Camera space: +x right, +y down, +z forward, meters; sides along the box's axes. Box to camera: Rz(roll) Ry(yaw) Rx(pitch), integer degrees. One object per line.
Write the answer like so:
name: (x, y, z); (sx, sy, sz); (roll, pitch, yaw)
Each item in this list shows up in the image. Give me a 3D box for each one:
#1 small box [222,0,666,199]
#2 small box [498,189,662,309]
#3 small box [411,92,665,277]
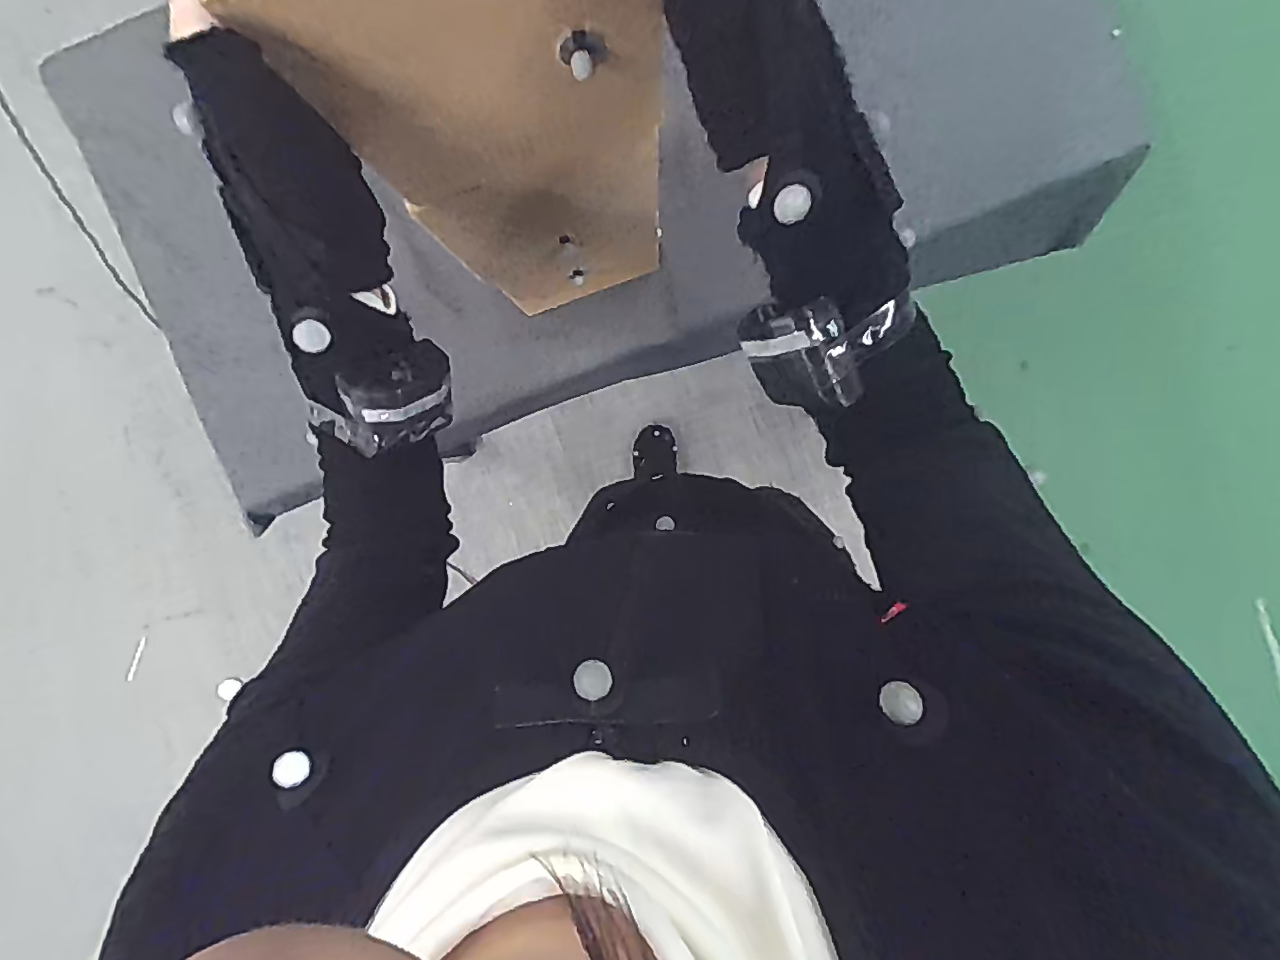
small box: (-0.089, -0.278, 0.269); (0.179, 0.176, 0.168); (-17, 91, 4)
small box: (-0.083, -0.309, 0.594); (0.179, 0.176, 0.168); (-19, 93, 4)
small box: (-0.089, -0.288, 0.432); (0.179, 0.176, 0.168); (-18, 93, 2)
